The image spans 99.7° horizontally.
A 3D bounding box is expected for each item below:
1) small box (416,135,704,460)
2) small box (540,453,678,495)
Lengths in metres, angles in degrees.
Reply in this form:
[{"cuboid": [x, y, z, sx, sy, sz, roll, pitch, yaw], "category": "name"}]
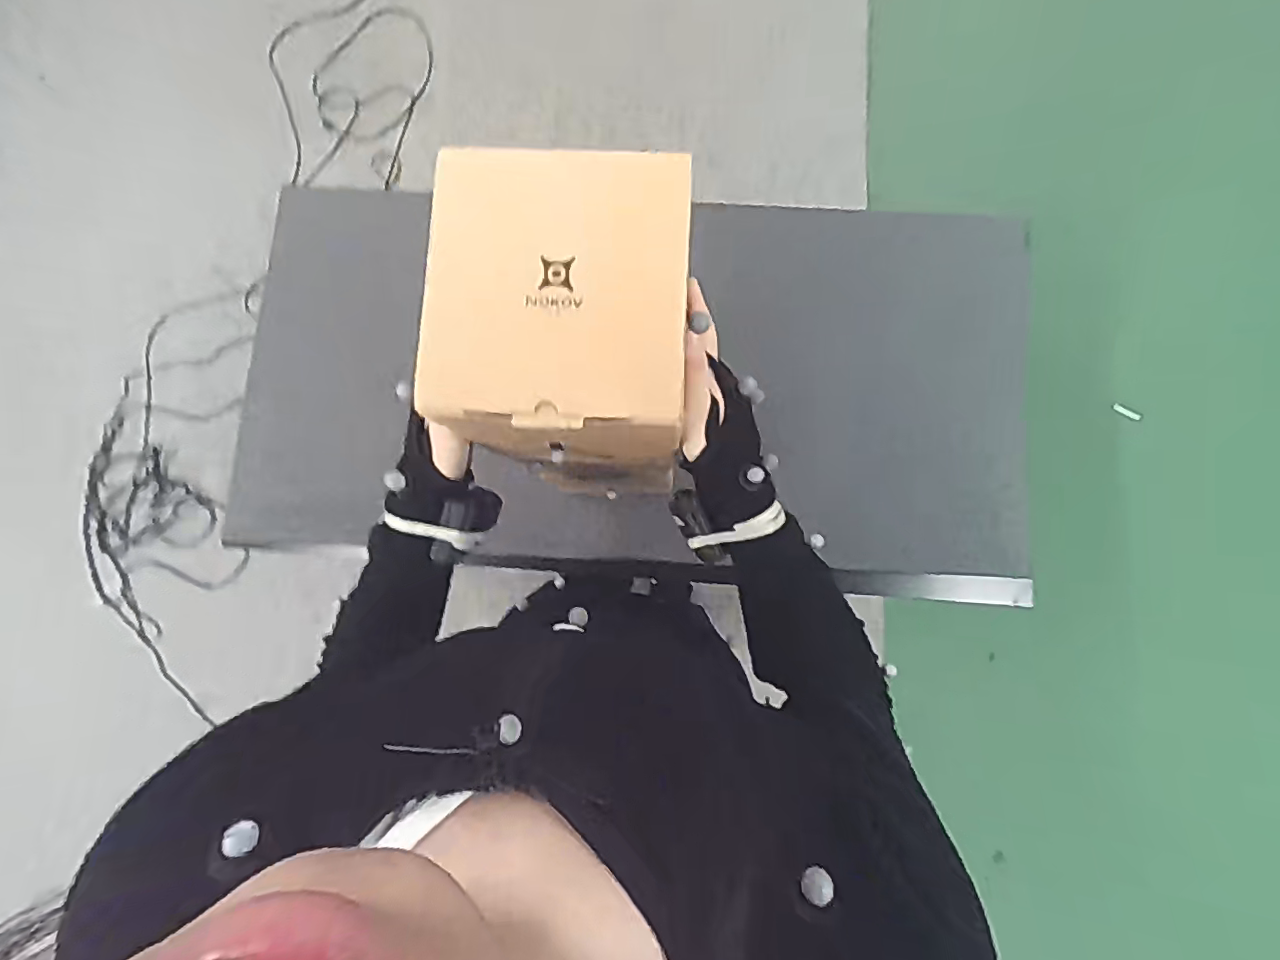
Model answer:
[{"cuboid": [-0.044, -0.116, 0.402, 0.168, 0.176, 0.179, 2, 84, 3], "category": "small box"}, {"cuboid": [-0.034, -0.078, 0.730, 0.168, 0.176, 0.179, 0, 81, 2], "category": "small box"}]
